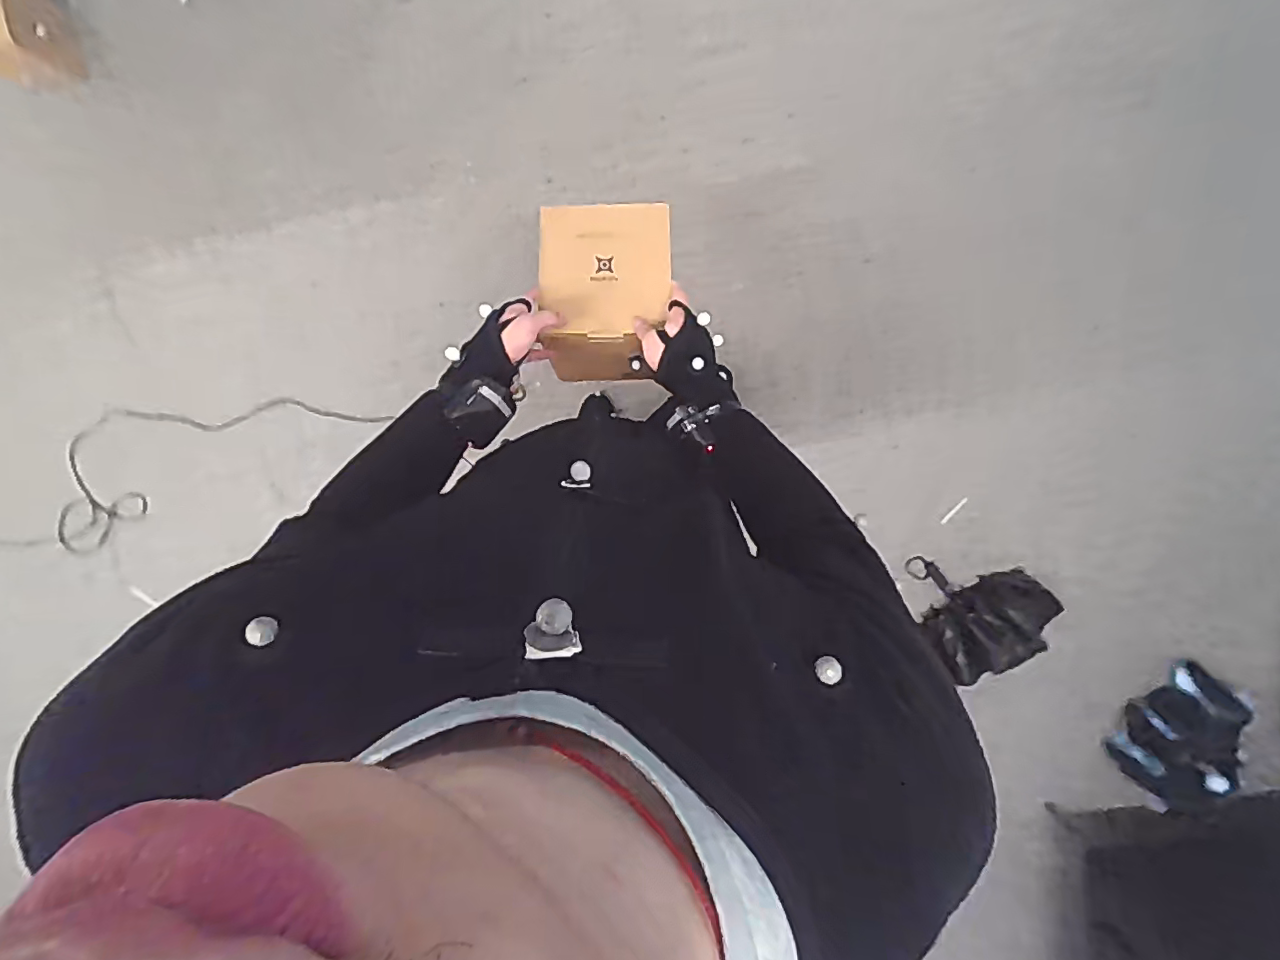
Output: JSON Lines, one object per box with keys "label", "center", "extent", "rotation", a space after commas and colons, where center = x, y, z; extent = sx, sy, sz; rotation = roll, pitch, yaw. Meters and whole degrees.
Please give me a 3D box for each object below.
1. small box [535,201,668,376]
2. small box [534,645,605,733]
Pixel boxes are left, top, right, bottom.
{"label": "small box", "center": [-0.044, -0.248, 0.742], "extent": [0.168, 0.176, 0.179], "rotation": [-1, 80, 1]}
{"label": "small box", "center": [-0.200, 0.607, 1.579], "extent": [0.168, 0.176, 0.179], "rotation": [-7, 99, 4]}
